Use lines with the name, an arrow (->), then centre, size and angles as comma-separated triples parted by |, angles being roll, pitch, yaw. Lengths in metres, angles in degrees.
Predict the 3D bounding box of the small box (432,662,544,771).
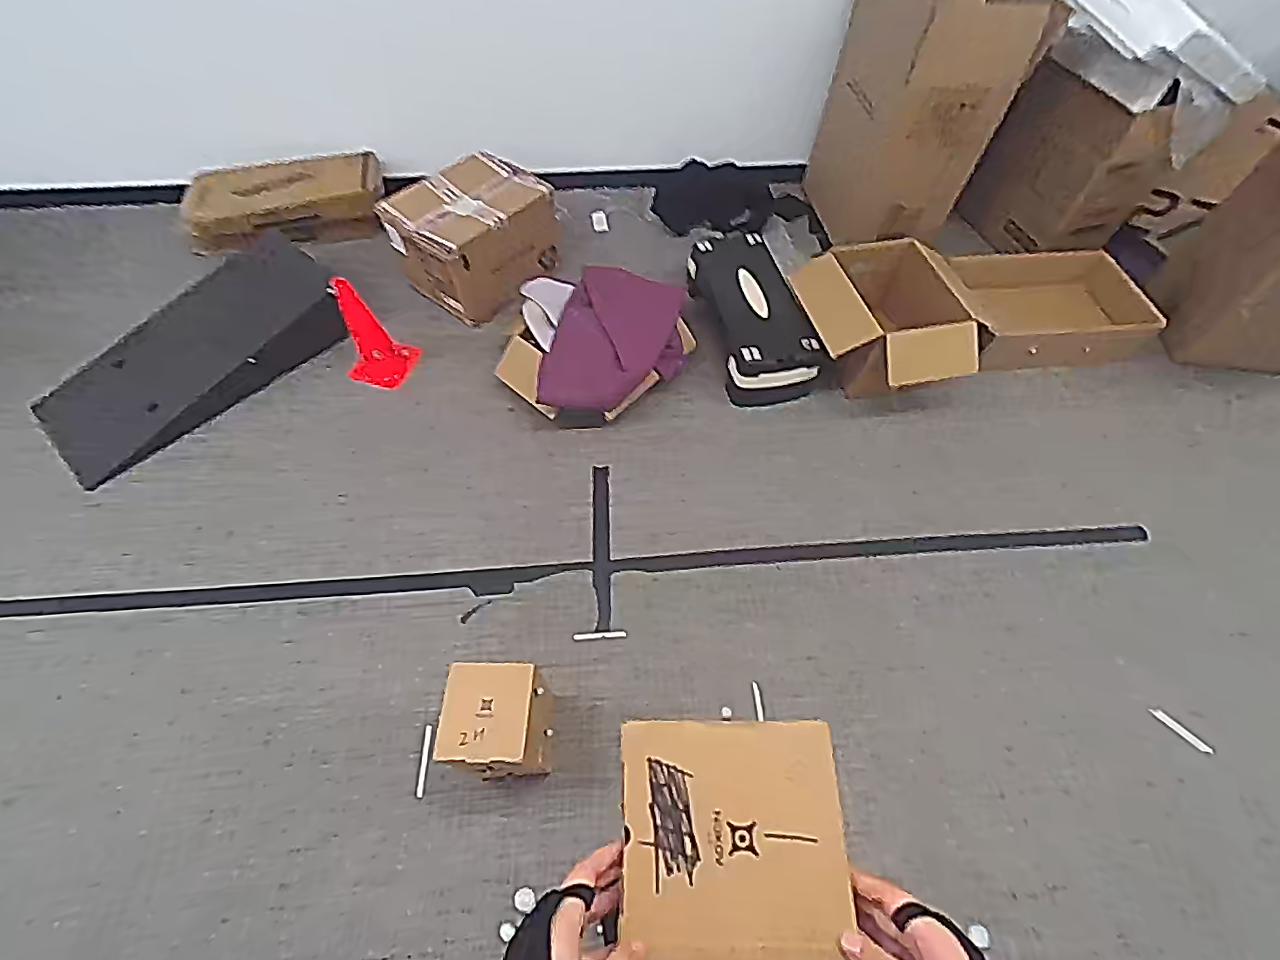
small box -> -0.291, 0.476, 1.082 | 0.168, 0.176, 0.179 | 1, 58, 1

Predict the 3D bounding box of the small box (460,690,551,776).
small box -> -0.293, 0.566, 1.221 | 0.168, 0.176, 0.179 | -4, 59, -2

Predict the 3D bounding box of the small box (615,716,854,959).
small box -> 0.075, 0.312, 0.498 | 0.179, 0.176, 0.168 | -2, 64, 3
